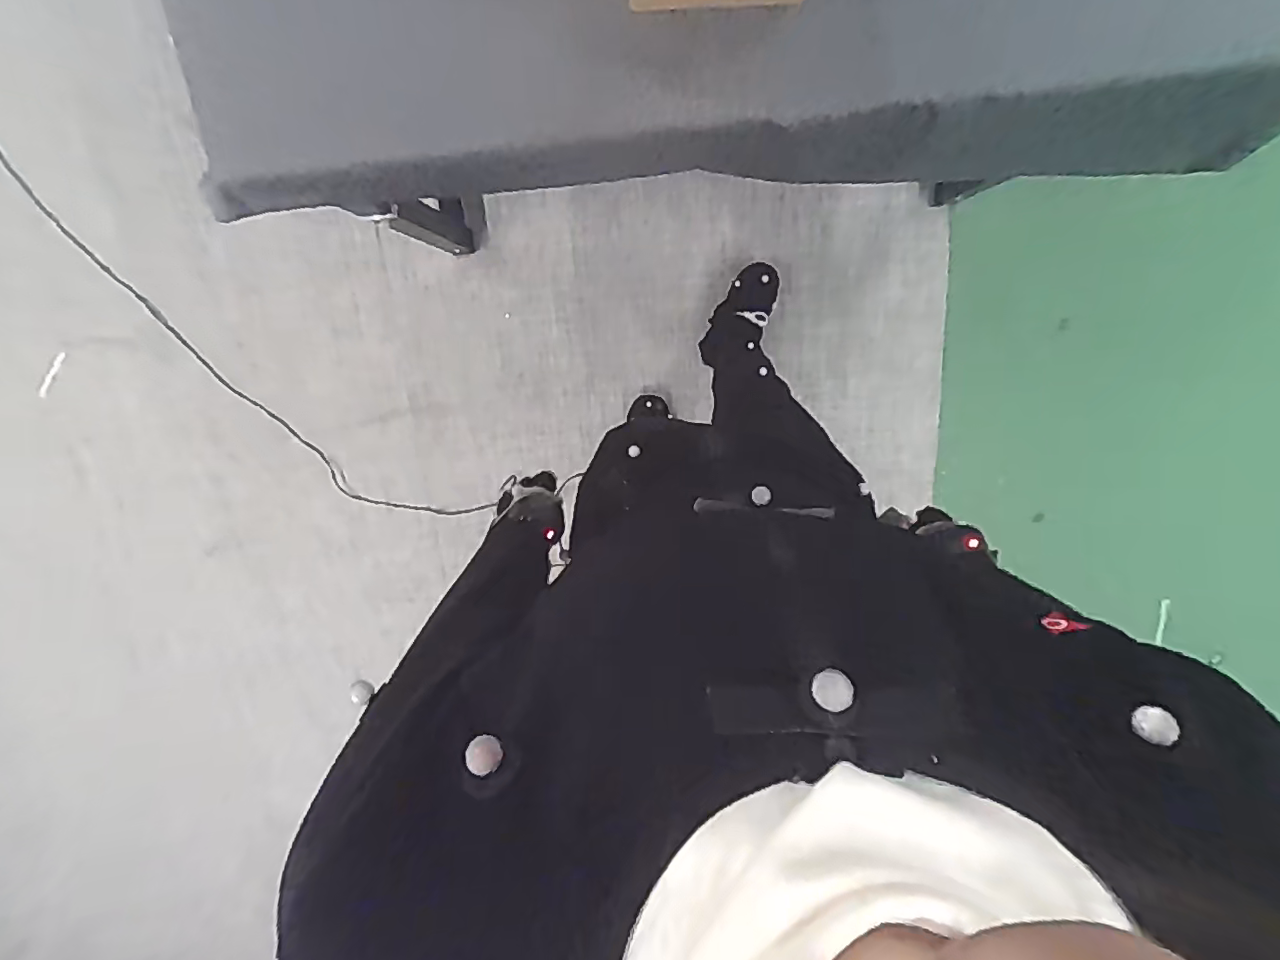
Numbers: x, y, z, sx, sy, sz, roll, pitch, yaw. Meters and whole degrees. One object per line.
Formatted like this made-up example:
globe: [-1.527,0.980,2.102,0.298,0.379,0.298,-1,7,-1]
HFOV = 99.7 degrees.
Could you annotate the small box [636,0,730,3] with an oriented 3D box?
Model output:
small box: [0.070,-0.546,0.453,0.179,0.176,0.168,-2,104,2]
